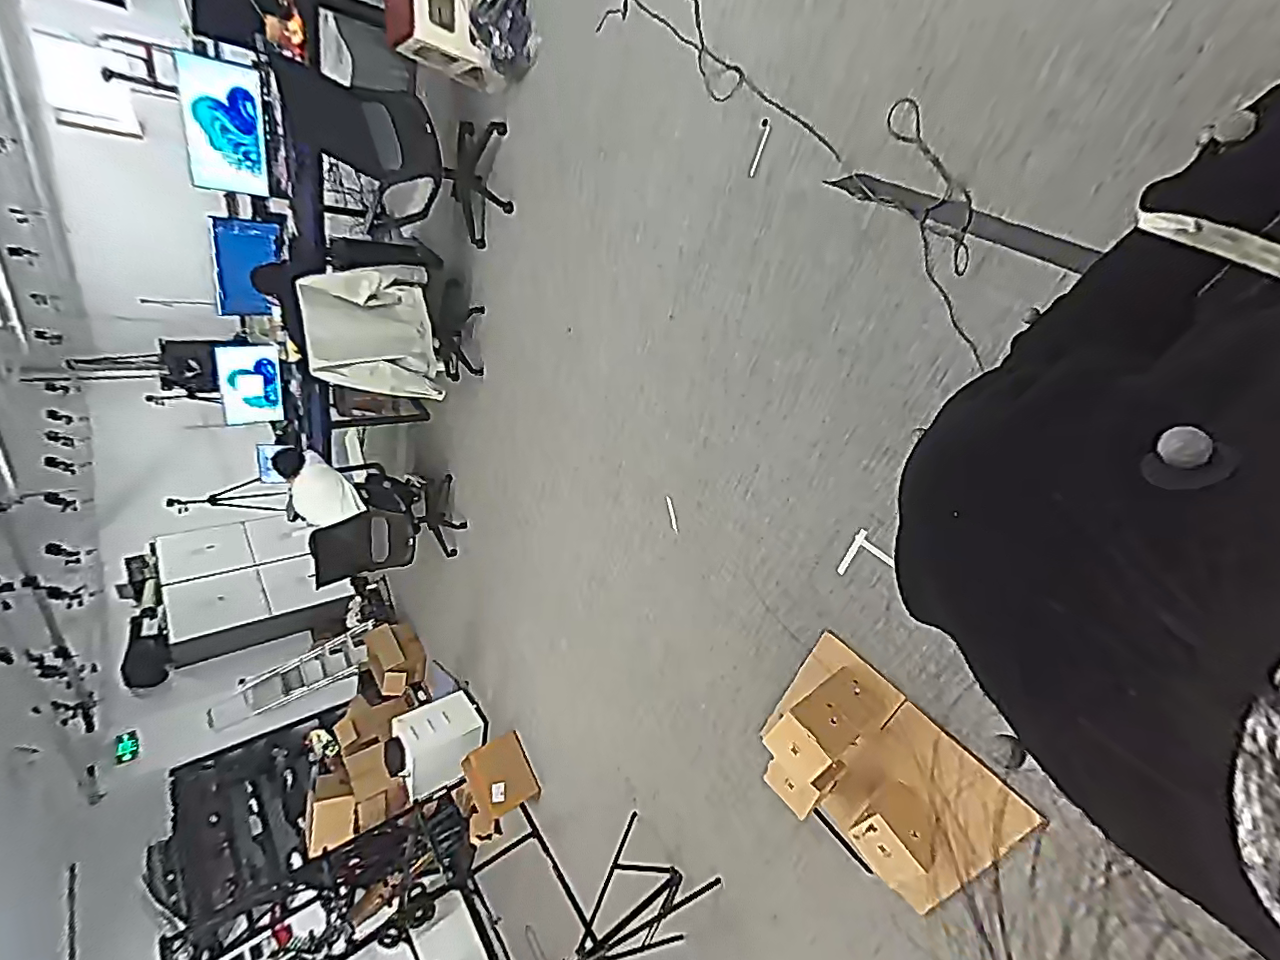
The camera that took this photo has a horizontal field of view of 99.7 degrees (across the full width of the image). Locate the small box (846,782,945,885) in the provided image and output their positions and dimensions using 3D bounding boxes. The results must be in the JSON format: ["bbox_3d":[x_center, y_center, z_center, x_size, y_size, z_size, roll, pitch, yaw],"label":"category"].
[{"bbox_3d":[0.764,1.049,1.612,0.179,0.176,0.168,49,132,27],"label":"small box"}]

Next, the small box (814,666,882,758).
[{"bbox_3d":[0.623,0.721,1.695,0.168,0.176,0.179,42,128,34],"label":"small box"}]

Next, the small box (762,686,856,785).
[{"bbox_3d":[0.501,0.746,1.590,0.168,0.176,0.179,46,129,32],"label":"small box"}]

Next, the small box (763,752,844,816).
[{"bbox_3d":[0.557,0.985,1.842,0.179,0.176,0.168,38,127,37],"label":"small box"}]
